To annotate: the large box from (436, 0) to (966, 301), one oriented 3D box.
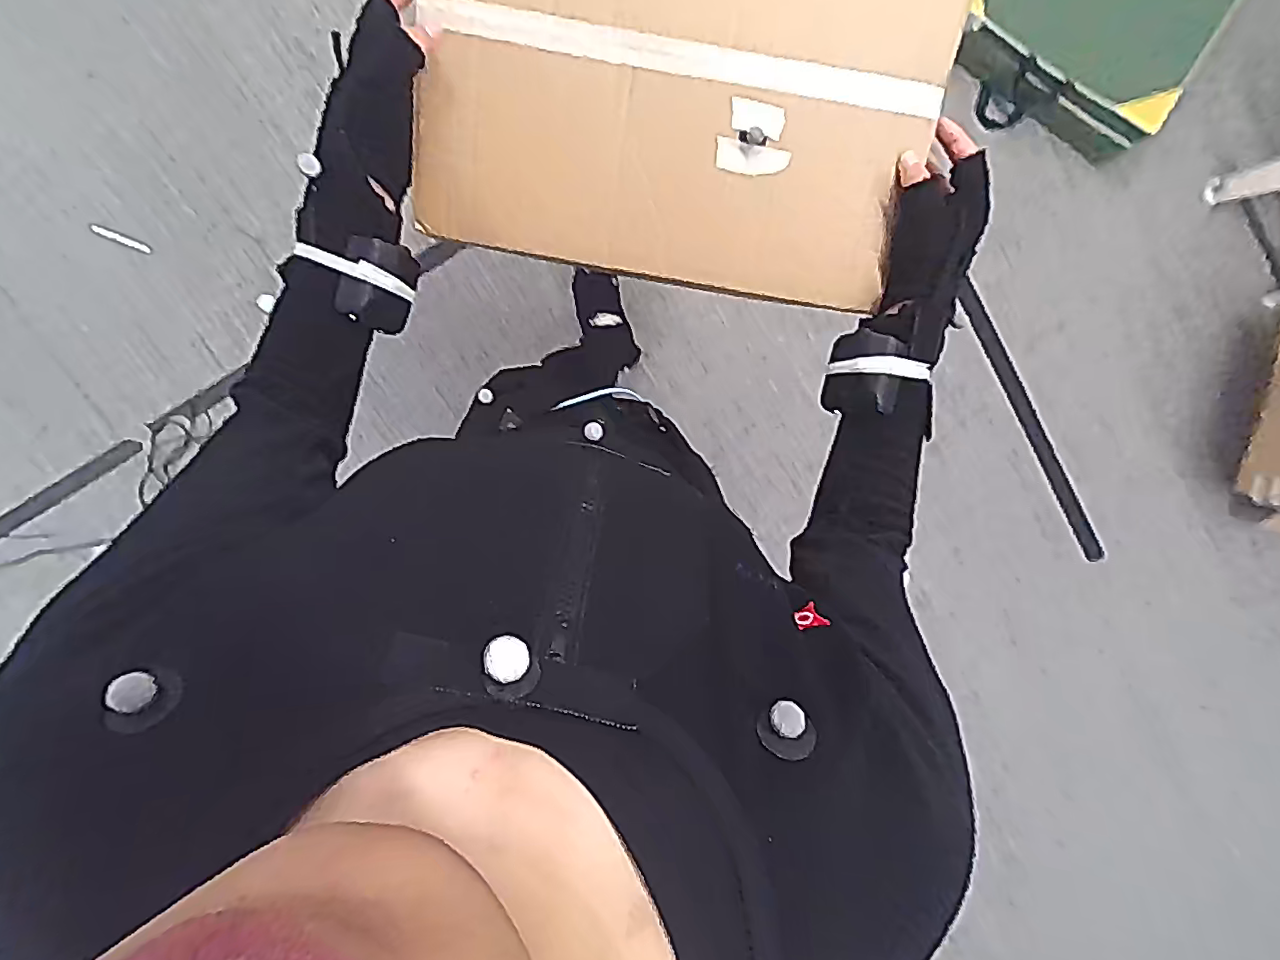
[{"bbox_3d":[0.041,-0.381,0.565,0.408,0.320,0.320,10,111,-2],"label":"large box"}]
